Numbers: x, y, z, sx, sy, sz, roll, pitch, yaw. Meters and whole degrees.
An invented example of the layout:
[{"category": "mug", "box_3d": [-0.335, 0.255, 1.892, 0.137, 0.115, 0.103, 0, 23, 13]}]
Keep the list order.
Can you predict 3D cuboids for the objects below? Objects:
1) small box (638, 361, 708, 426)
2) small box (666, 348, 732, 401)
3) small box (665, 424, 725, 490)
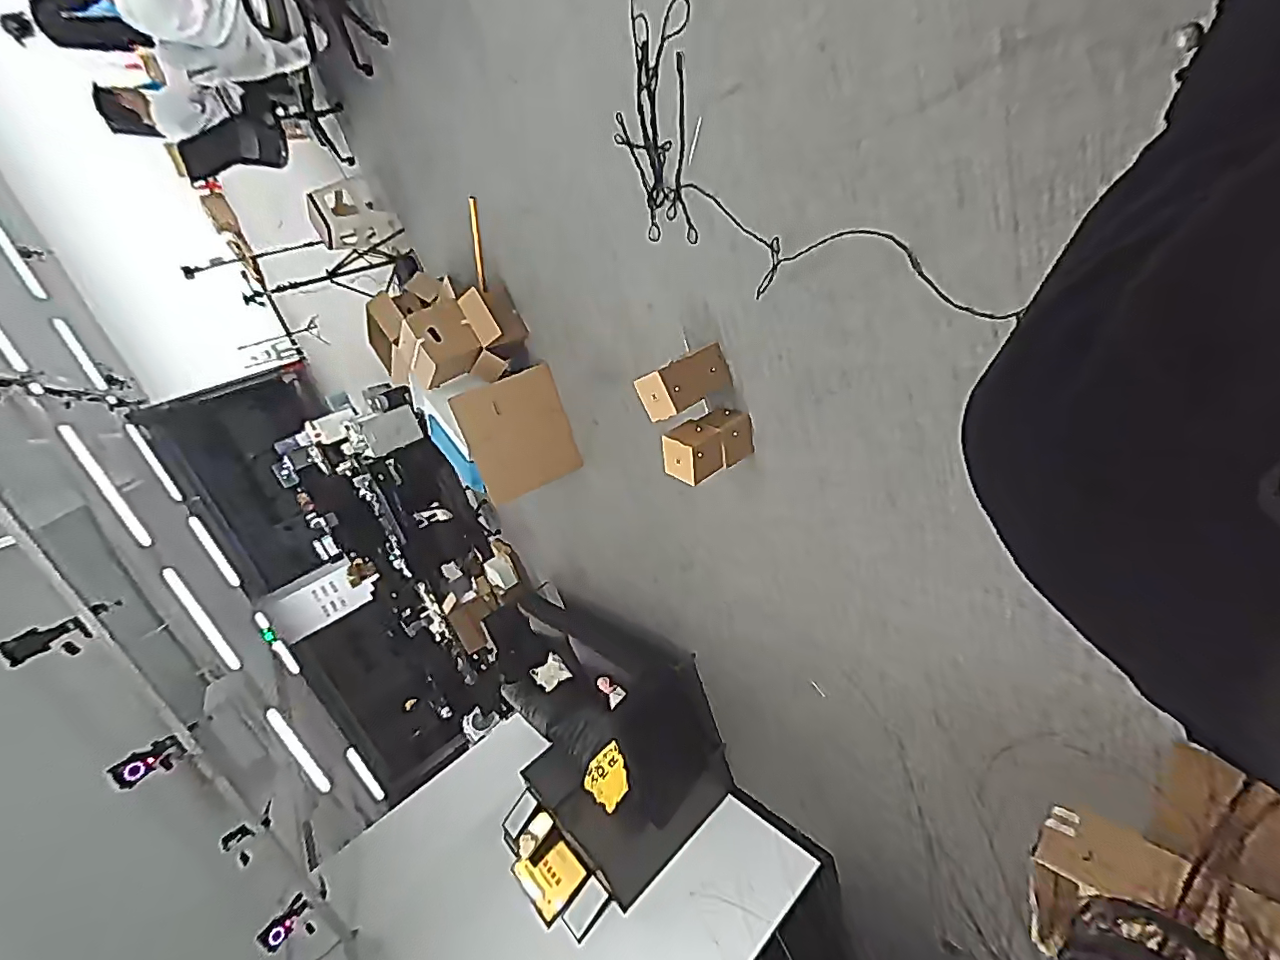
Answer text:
[{"category": "small box", "box_3d": [0.129, -0.328, 2.044, 0.168, 0.176, 0.179, -10, 108, 57]}, {"category": "small box", "box_3d": [0.240, -0.407, 2.134, 0.179, 0.176, 0.168, -2, 115, 57]}, {"category": "small box", "box_3d": [0.221, -0.095, 2.120, 0.168, 0.176, 0.179, 28, 137, 42]}]
